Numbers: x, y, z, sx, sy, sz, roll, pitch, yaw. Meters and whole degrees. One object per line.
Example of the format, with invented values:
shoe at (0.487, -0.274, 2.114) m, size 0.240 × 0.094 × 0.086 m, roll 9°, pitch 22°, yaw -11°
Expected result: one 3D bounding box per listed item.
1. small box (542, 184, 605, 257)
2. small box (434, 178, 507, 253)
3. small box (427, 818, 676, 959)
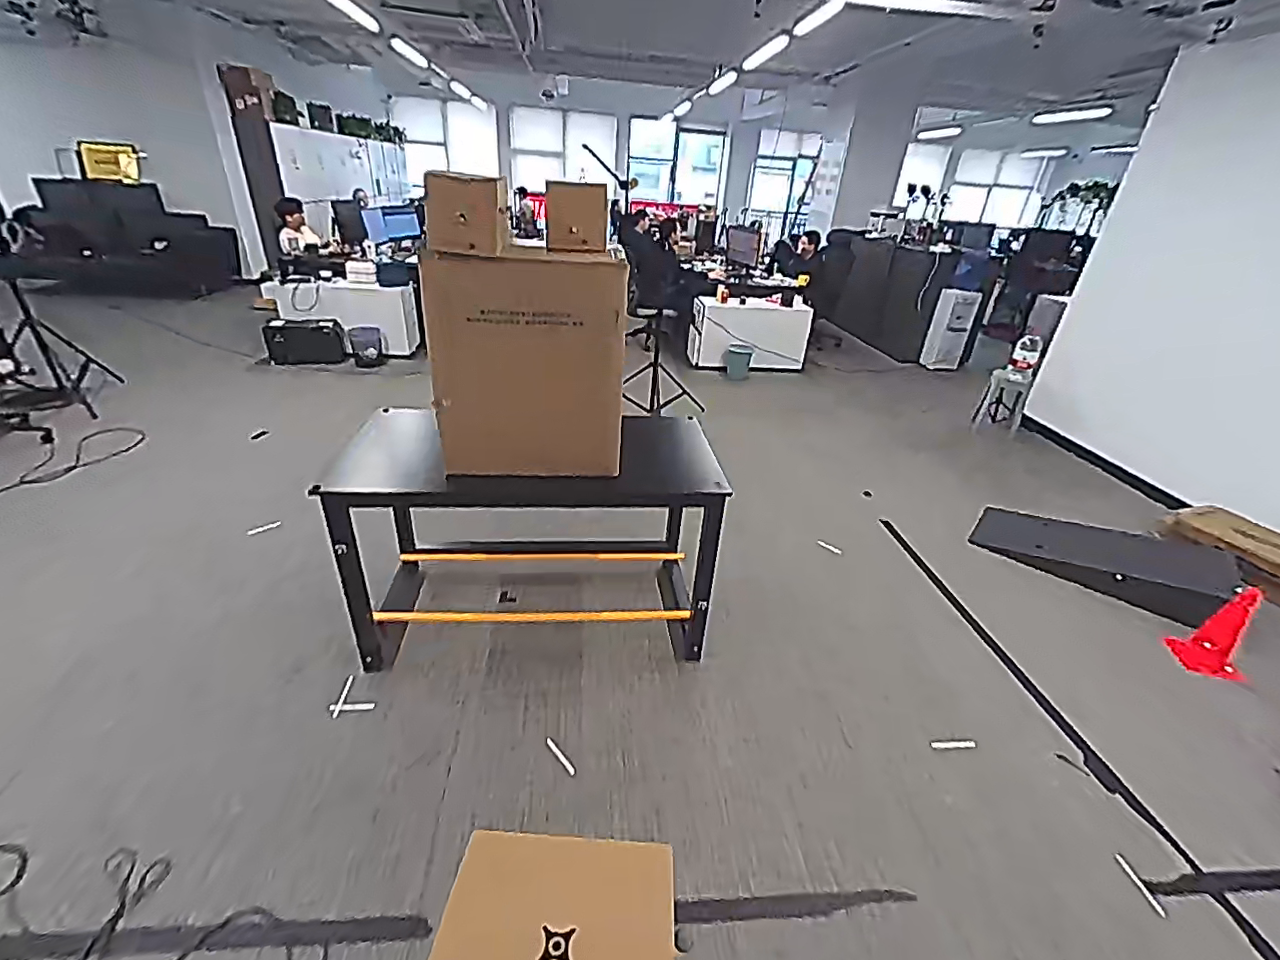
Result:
small box at (-0.187, -0.725, 1.512) m, size 0.168 × 0.176 × 0.179 m, roll -2°, pitch 28°, yaw -8°
small box at (-0.461, -0.732, 1.497) m, size 0.168 × 0.176 × 0.179 m, roll -1°, pitch 29°, yaw -8°
small box at (-0.061, 0.389, 0.390) m, size 0.168 × 0.176 × 0.179 m, roll 3°, pitch 20°, yaw 1°
